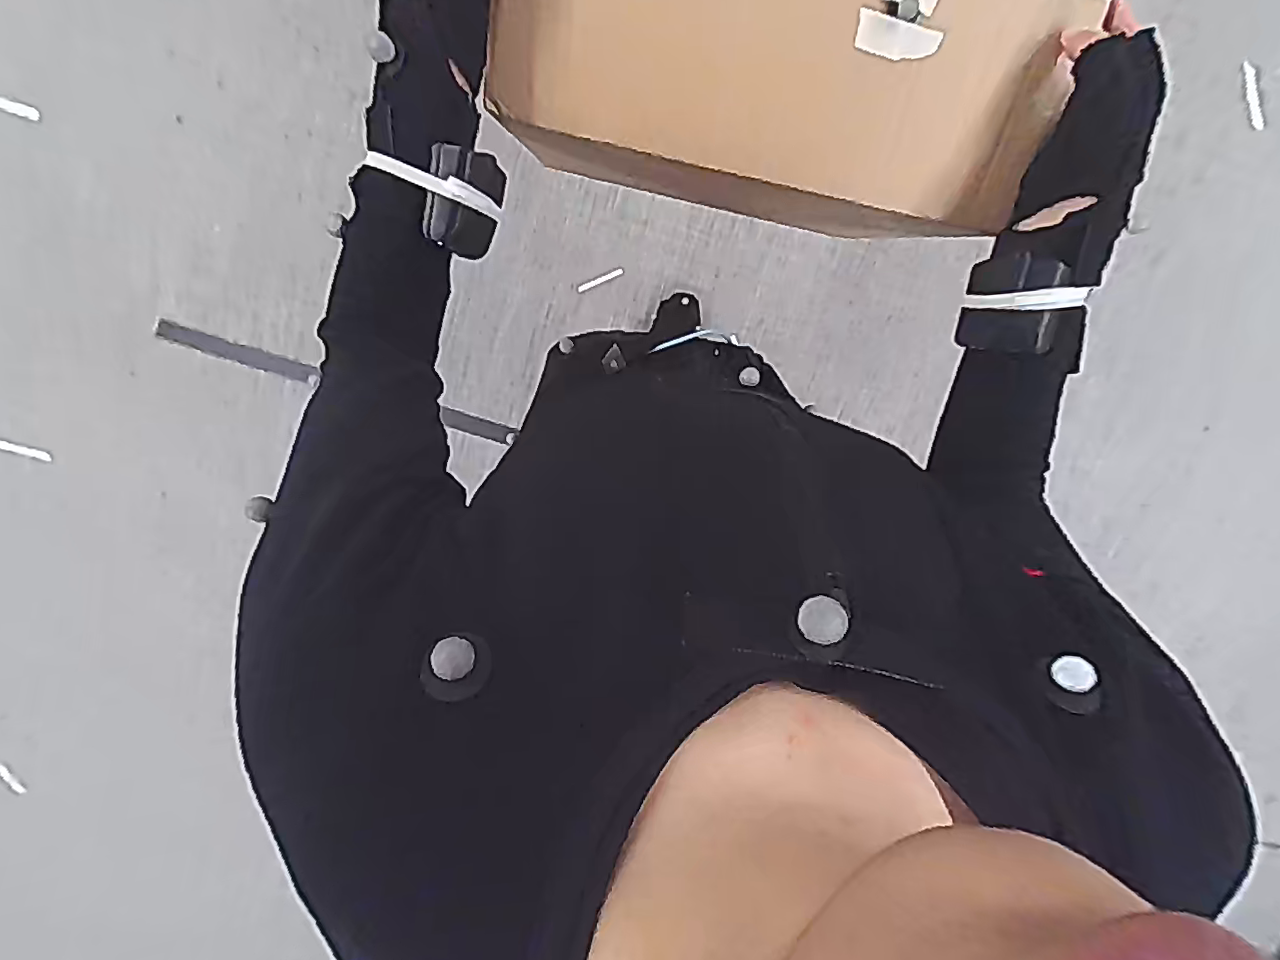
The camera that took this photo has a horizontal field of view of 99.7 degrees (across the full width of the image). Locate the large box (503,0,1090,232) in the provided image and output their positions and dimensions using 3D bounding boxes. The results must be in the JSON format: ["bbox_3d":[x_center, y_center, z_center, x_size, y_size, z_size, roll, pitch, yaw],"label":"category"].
[{"bbox_3d":[0.115,-0.433,0.490,0.408,0.320,0.320,10,114,-7],"label":"large box"}]
